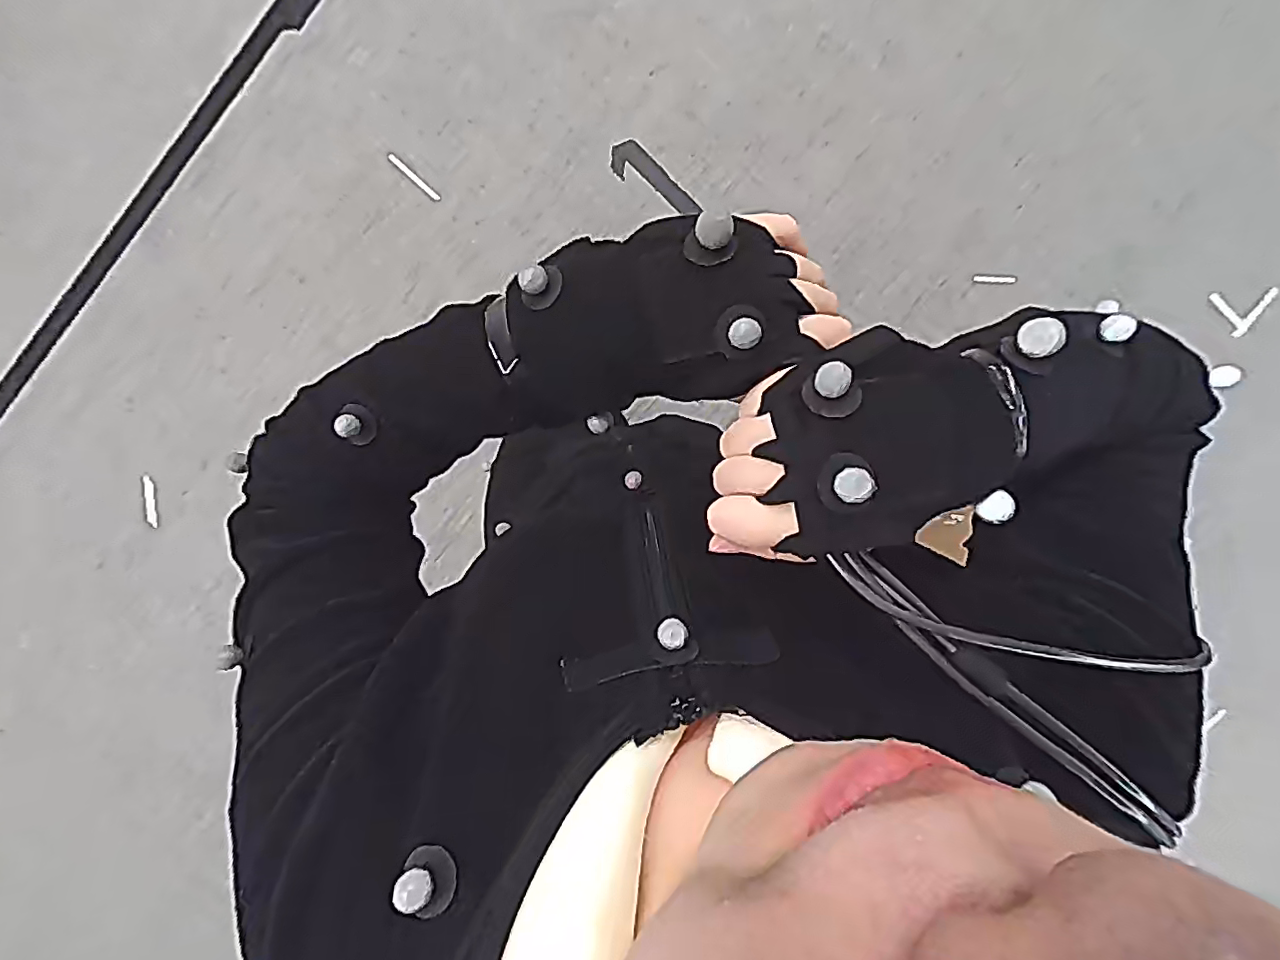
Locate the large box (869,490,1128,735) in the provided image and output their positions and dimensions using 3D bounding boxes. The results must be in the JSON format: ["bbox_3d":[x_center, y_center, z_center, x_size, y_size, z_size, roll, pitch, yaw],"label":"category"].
[{"bbox_3d":[0.810,0.284,1.267,0.320,0.320,0.408,-26,100,1],"label":"large box"}]
